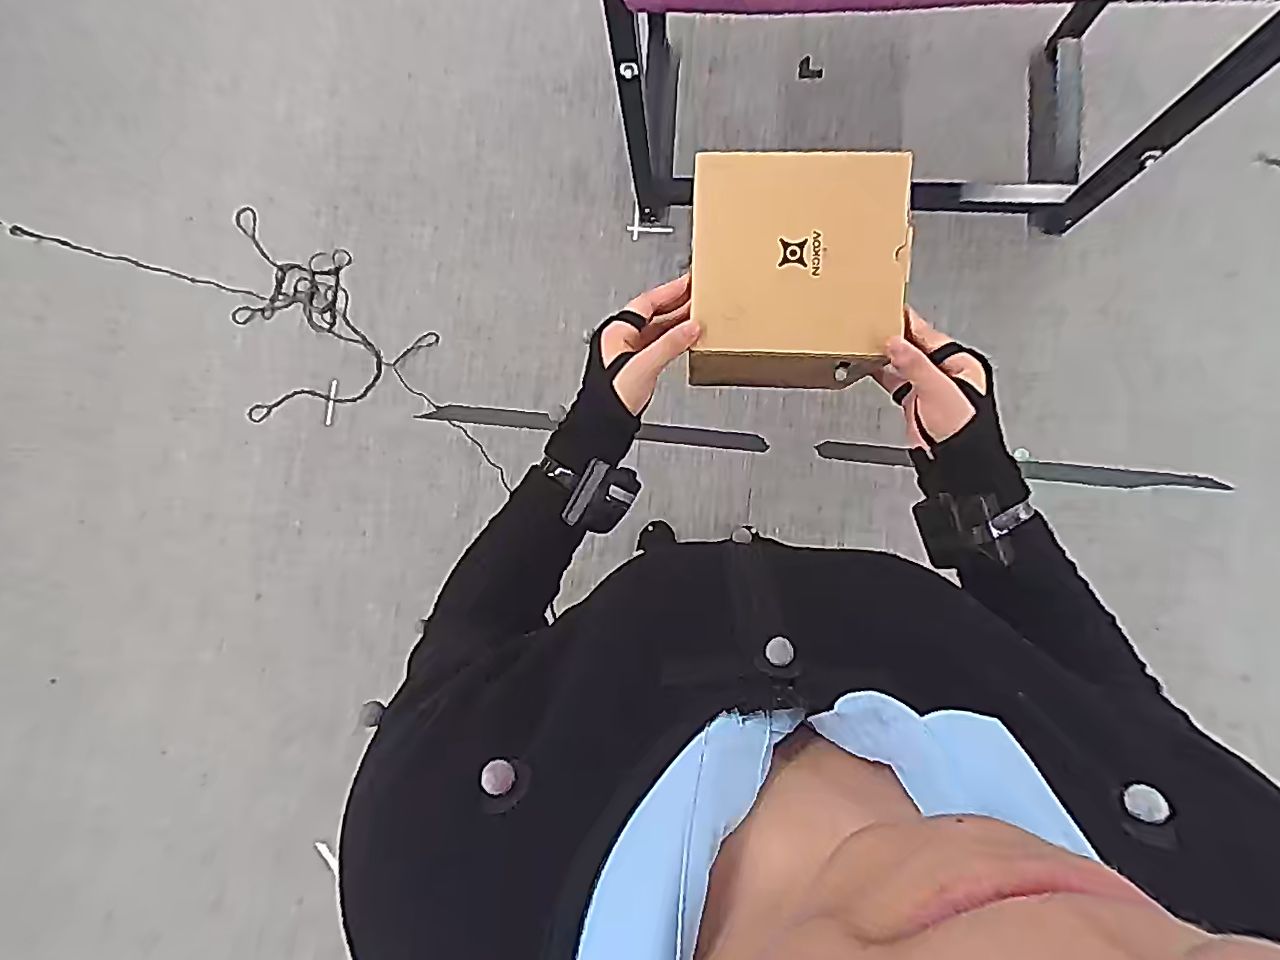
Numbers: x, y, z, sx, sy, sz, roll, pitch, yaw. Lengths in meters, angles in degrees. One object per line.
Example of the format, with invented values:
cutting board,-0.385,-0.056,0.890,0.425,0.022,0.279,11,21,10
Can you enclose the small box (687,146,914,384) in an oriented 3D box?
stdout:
small box,0.136,-0.188,0.519,0.179,0.176,0.168,2,90,3
